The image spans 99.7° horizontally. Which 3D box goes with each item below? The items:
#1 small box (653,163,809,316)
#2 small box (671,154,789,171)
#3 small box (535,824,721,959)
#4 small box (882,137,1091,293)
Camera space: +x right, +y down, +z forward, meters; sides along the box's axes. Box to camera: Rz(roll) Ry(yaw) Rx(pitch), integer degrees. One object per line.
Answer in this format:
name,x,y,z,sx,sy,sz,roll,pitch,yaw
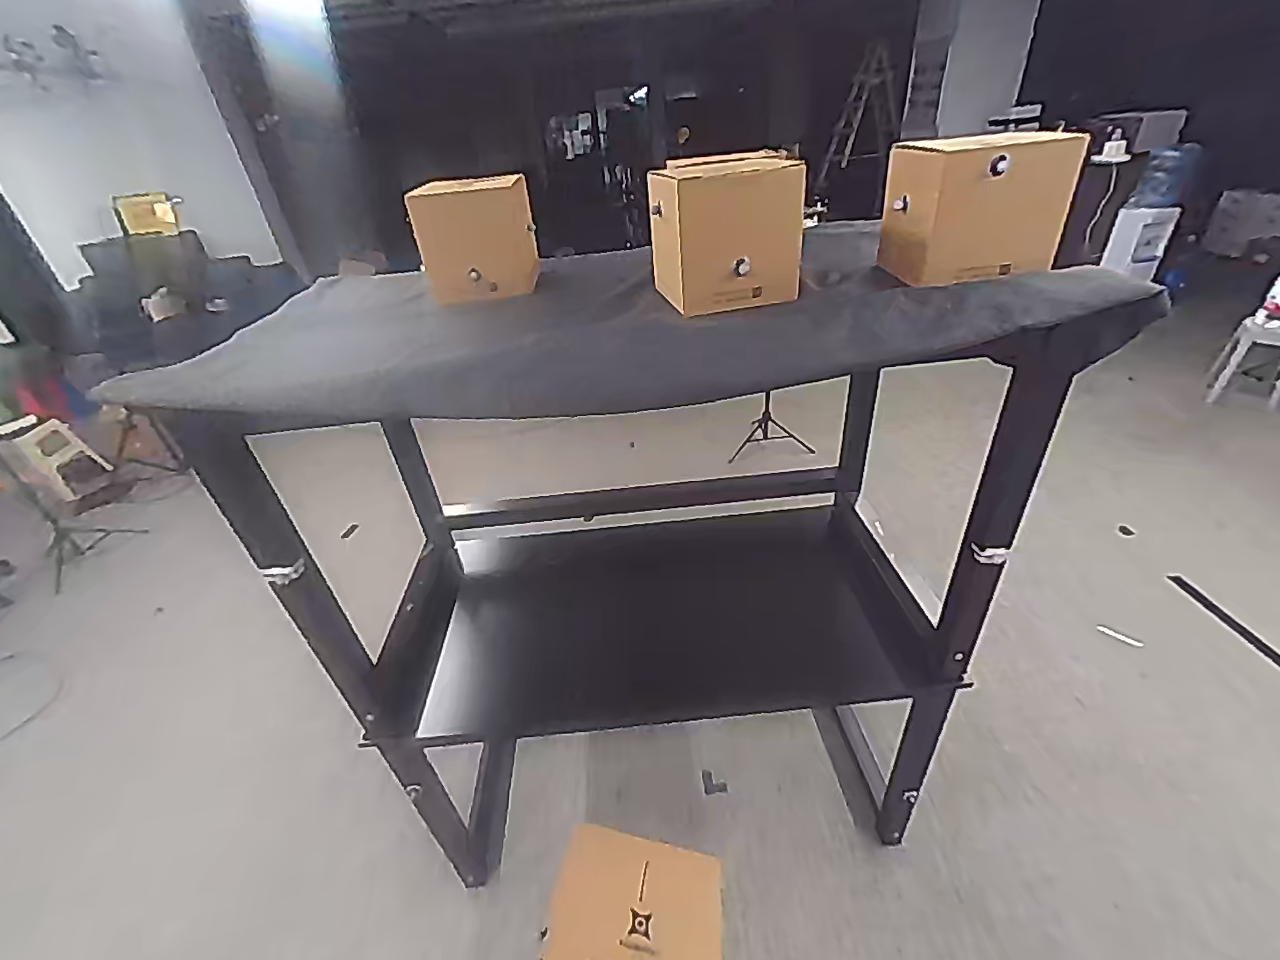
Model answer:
small box,0.118,-0.343,0.766,0.168,0.176,0.179,-11,34,-7
small box,0.148,-0.464,0.947,0.179,0.176,0.168,-5,32,1
small box,-0.021,0.499,0.545,0.168,0.176,0.179,15,28,-1
small box,0.454,-0.365,0.746,0.168,0.176,0.179,-5,32,3
